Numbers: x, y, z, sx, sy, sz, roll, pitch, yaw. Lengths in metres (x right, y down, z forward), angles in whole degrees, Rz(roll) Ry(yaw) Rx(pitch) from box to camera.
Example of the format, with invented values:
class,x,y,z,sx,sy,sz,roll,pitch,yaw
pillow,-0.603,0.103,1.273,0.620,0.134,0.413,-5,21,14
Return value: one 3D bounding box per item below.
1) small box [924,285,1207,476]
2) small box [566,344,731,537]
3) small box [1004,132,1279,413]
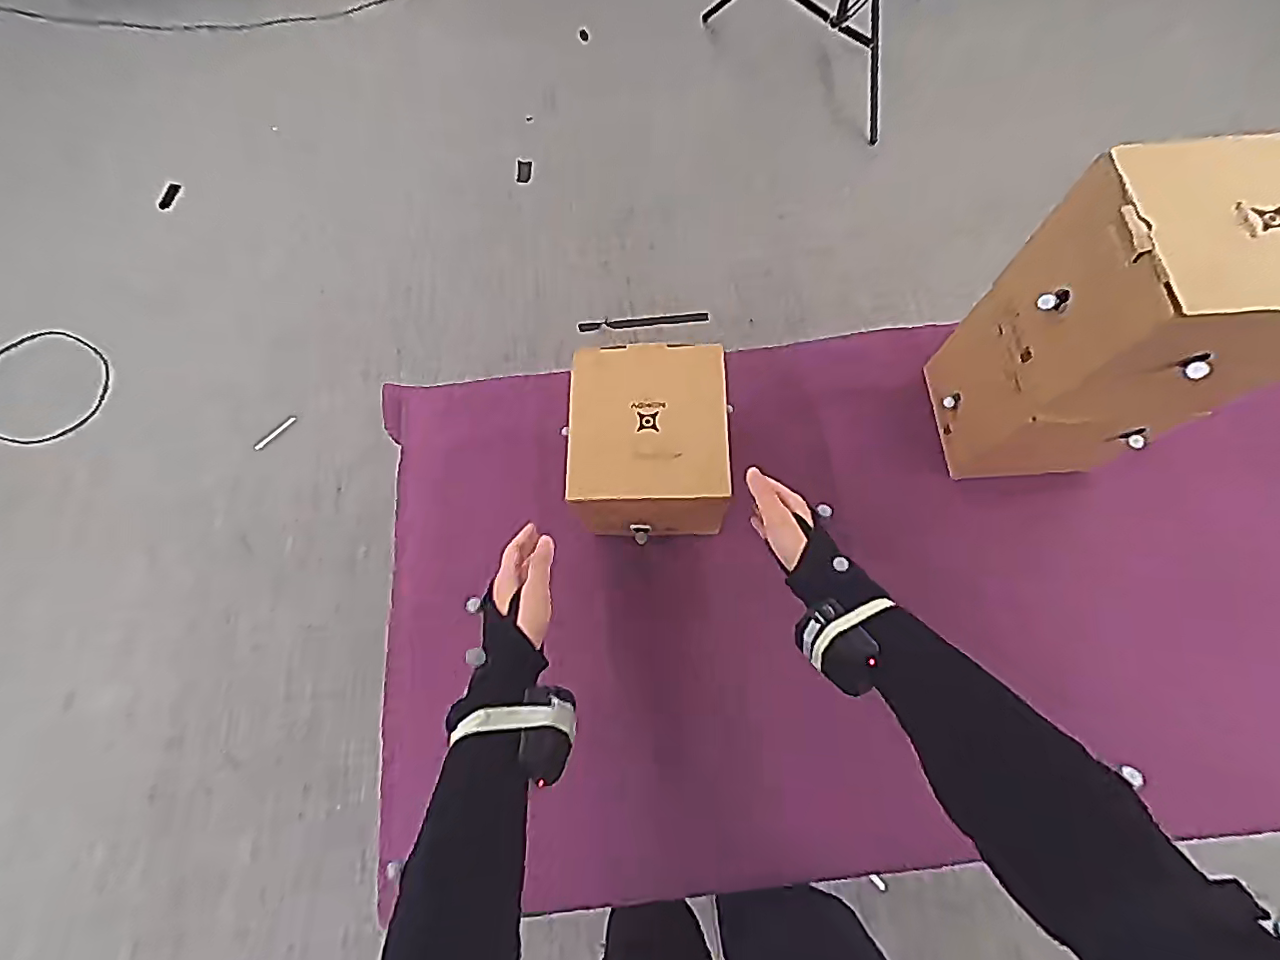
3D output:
class,x,y,z,sx,sy,sz,roll,pitch,yaw
small box,0.471,-0.111,0.633,0.179,0.176,0.168,-4,70,2
small box,0.012,-0.038,0.631,0.168,0.176,0.179,-2,72,3
small box,0.462,-0.168,0.480,0.179,0.176,0.168,-3,71,3
